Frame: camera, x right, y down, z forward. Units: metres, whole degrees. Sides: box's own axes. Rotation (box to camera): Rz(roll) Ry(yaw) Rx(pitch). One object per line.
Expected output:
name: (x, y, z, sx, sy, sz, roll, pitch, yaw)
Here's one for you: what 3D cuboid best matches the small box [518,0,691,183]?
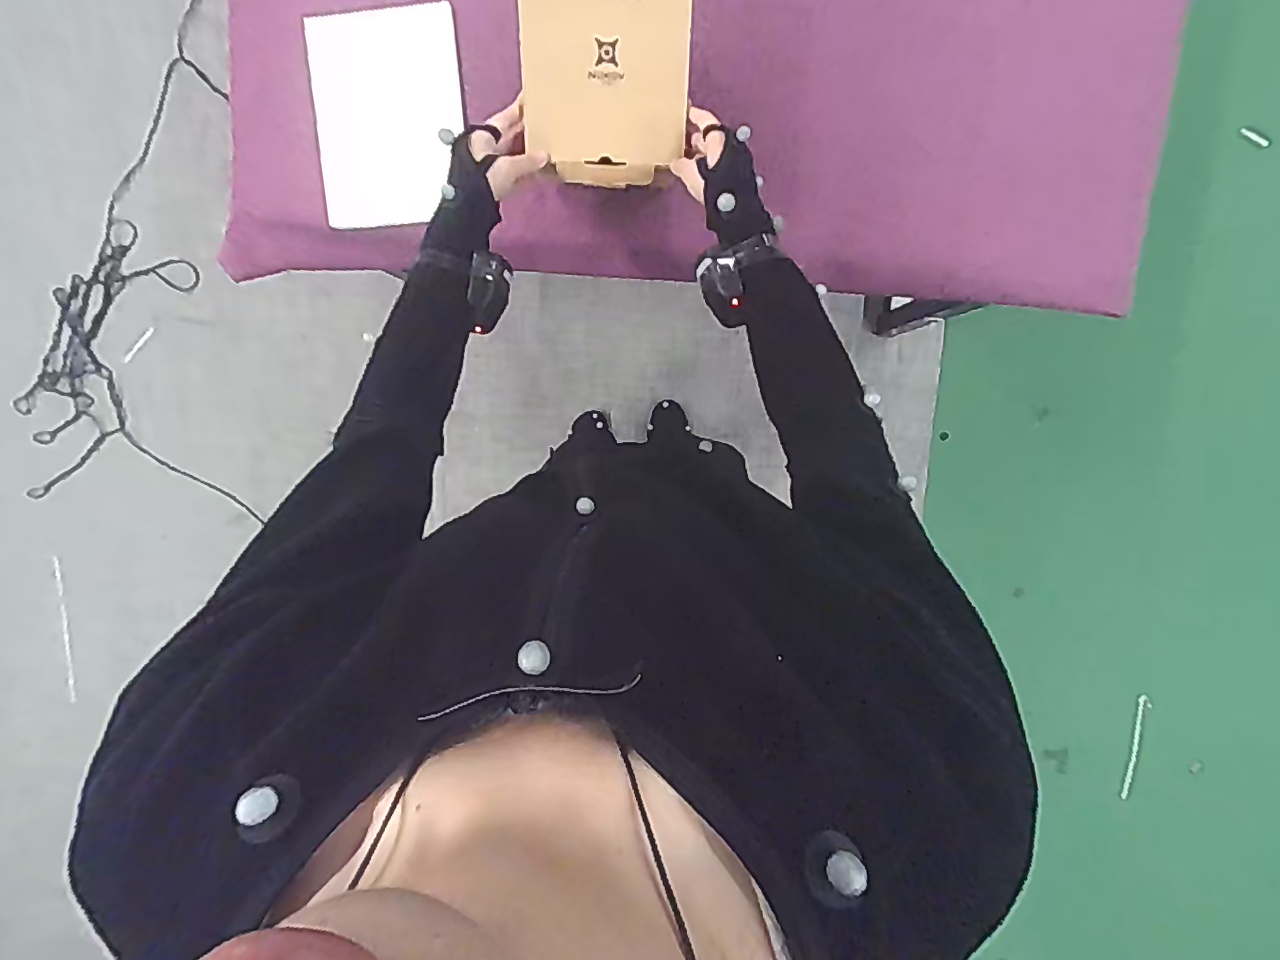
small box: (-0.040, -0.440, 0.605, 0.168, 0.176, 0.179, 1, 113, -4)
